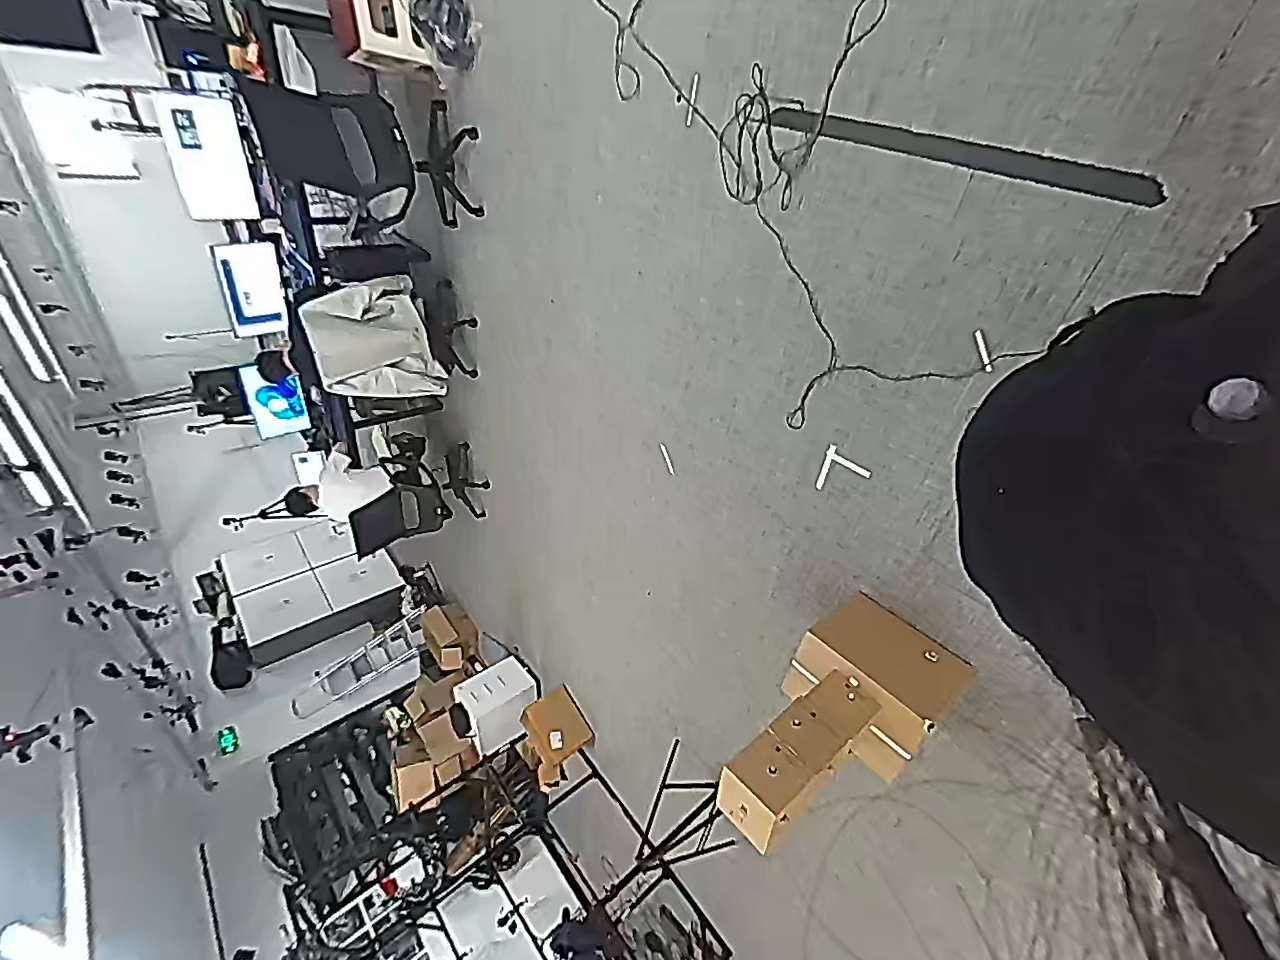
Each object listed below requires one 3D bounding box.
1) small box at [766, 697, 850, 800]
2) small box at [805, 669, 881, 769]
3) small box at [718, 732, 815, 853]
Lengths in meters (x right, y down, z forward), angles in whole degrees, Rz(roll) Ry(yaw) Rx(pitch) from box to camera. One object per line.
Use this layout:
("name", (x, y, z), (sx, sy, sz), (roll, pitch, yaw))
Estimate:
("small box", (0.450, 0.740, 1.489), (0.168, 0.176, 0.179), (36, 134, 38))
("small box", (0.574, 0.698, 1.585), (0.168, 0.176, 0.179), (36, 133, 36))
("small box", (0.327, 0.794, 1.393), (0.168, 0.176, 0.179), (32, 131, 41))
